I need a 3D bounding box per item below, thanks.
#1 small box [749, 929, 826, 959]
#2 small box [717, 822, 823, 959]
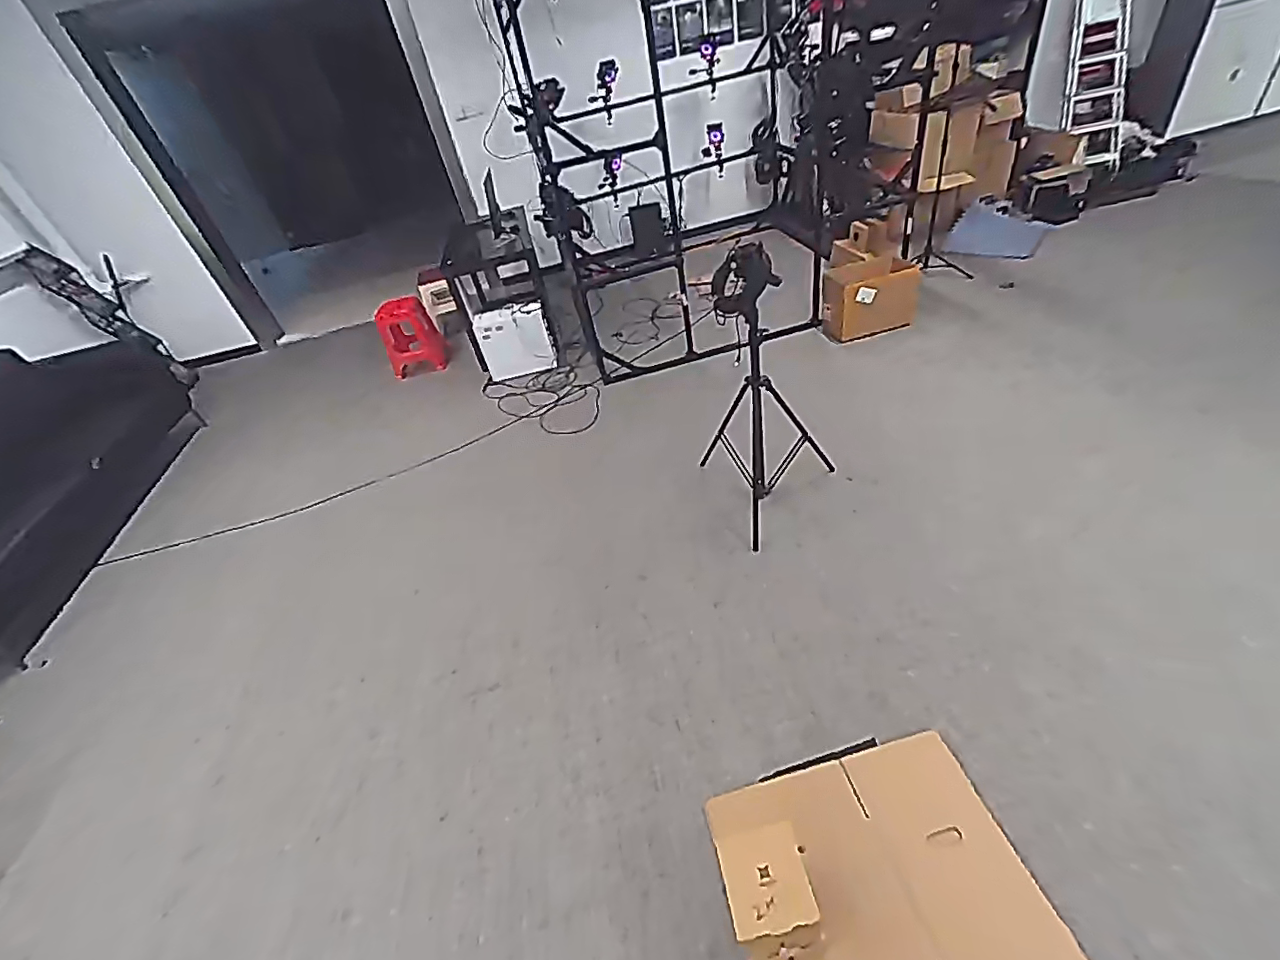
[{"bbox_3d":[0.309,0.977,1.223,0.168,0.176,0.179,-15,40,-1],"label":"small box"},{"bbox_3d":[0.266,0.851,1.123,0.168,0.176,0.179,-15,40,0],"label":"small box"}]
